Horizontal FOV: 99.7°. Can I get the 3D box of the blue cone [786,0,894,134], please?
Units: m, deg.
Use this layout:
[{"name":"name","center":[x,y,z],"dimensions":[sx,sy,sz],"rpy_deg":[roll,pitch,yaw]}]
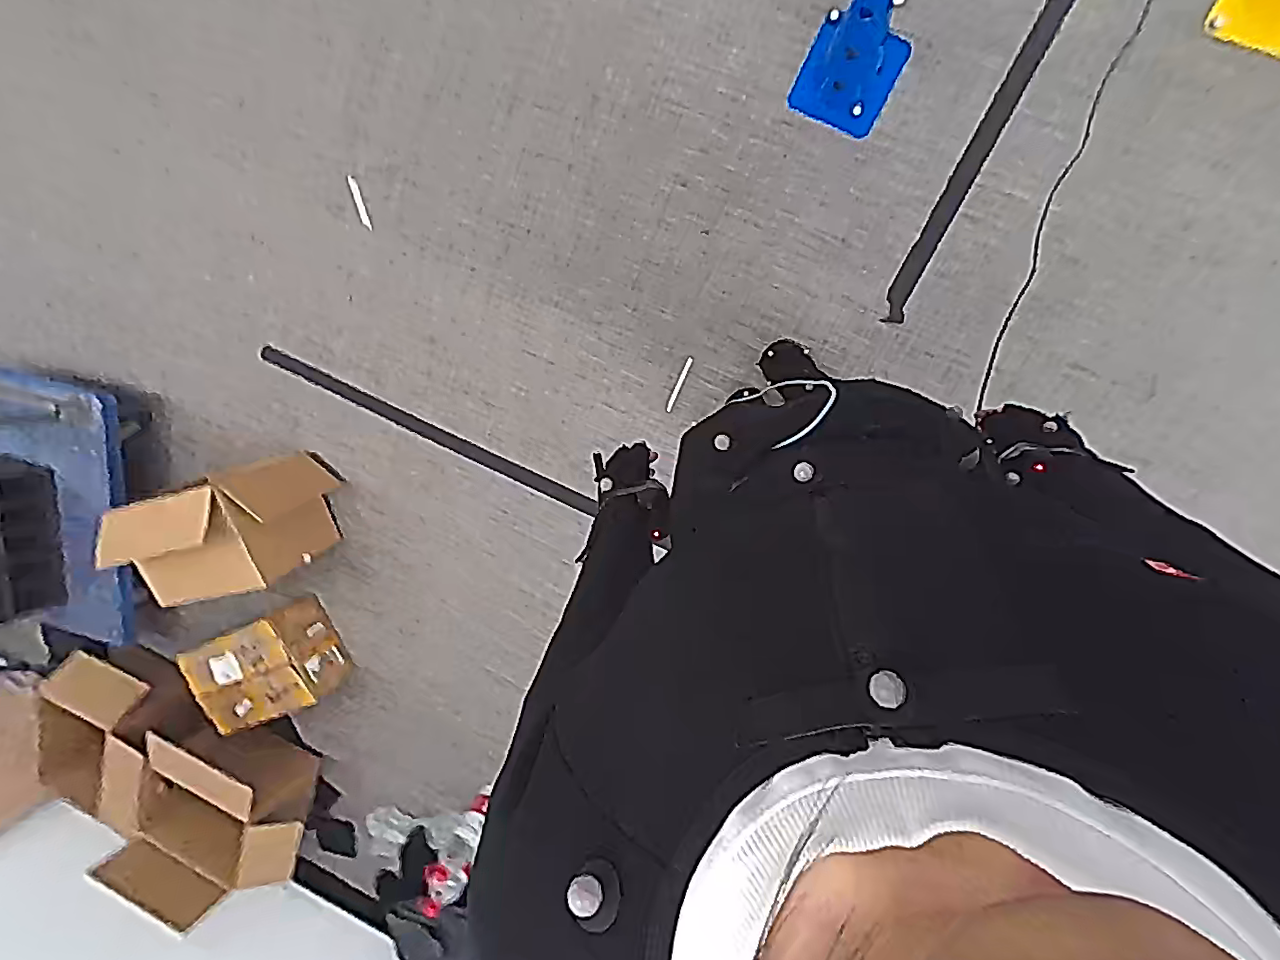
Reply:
[{"name":"blue cone","center":[0.403,-0.847,1.031],"dimensions":[0.192,0.380,0.193],"rpy_deg":[29,107,5]}]
